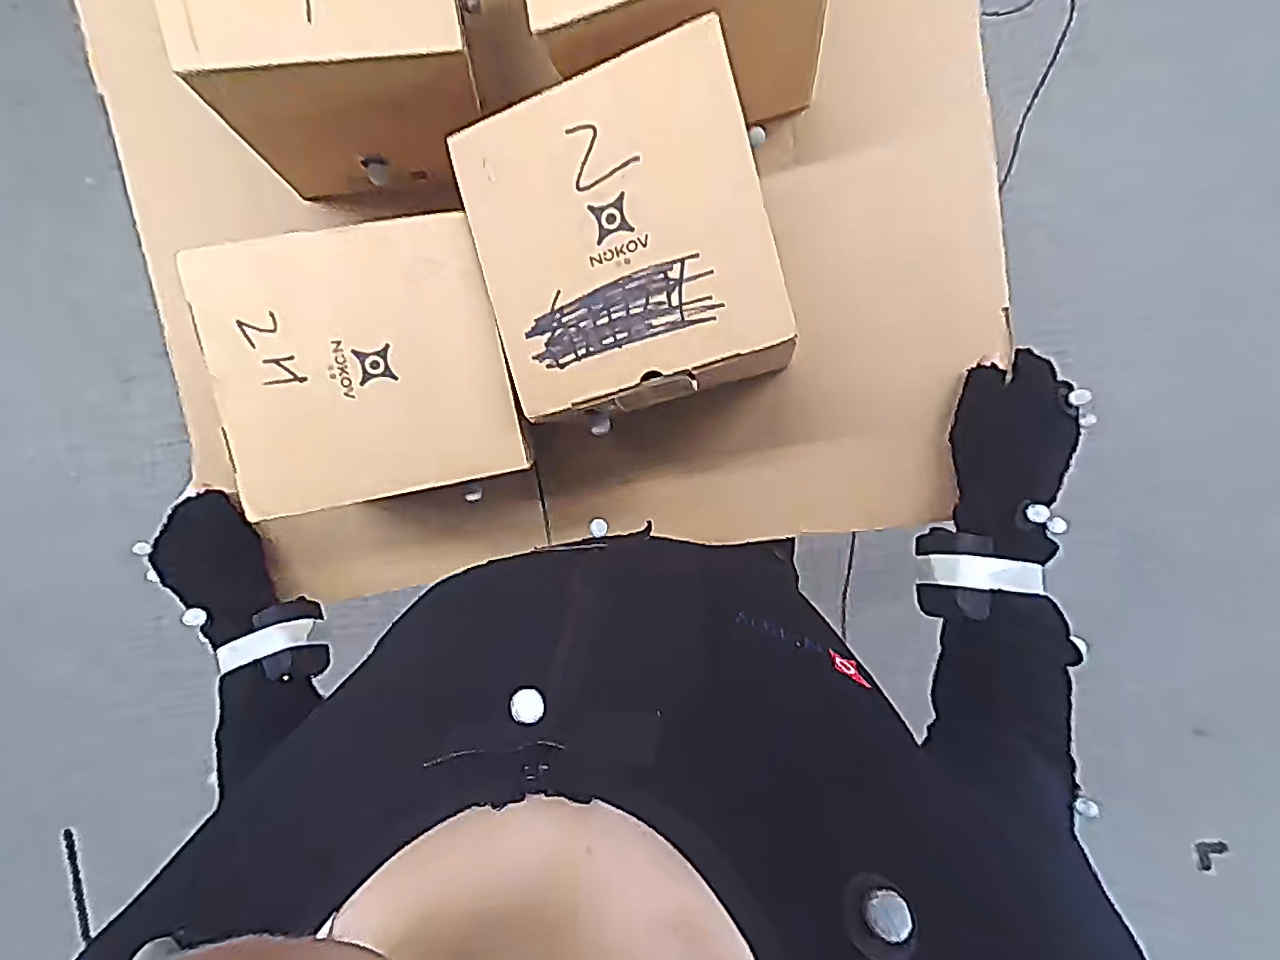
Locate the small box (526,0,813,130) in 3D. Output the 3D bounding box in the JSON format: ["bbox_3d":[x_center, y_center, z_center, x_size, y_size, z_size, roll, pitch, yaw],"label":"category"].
[{"bbox_3d":[0.021,-0.366,0.354,0.168,0.176,0.179,-8,94,14],"label":"small box"}]
